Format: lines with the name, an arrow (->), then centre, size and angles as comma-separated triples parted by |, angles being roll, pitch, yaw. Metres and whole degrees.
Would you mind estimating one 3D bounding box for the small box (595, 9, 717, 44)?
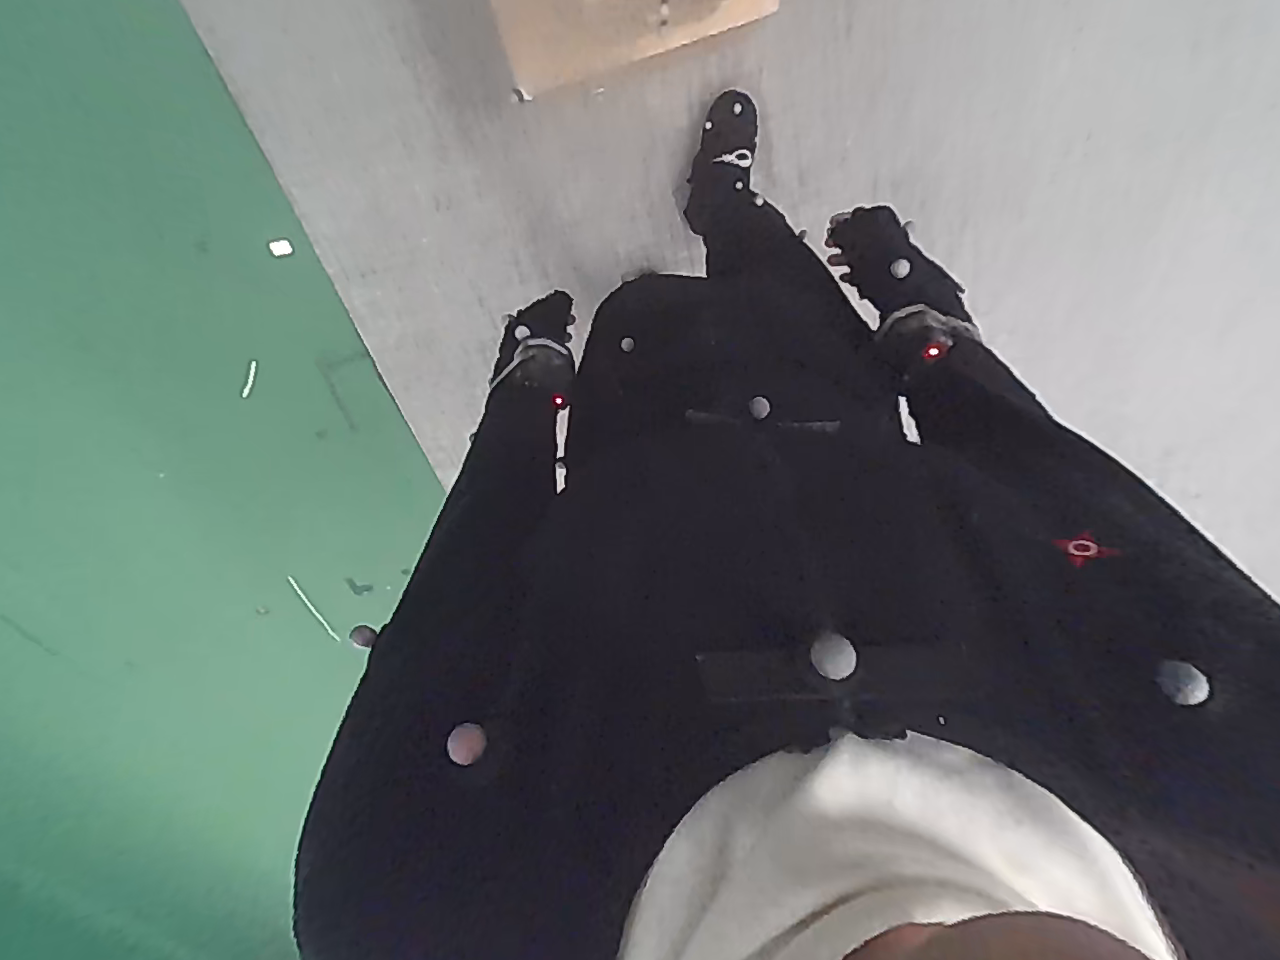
small box -> 0.011, -0.677, 0.679 | 0.168, 0.176, 0.179 | -10, 123, 8
